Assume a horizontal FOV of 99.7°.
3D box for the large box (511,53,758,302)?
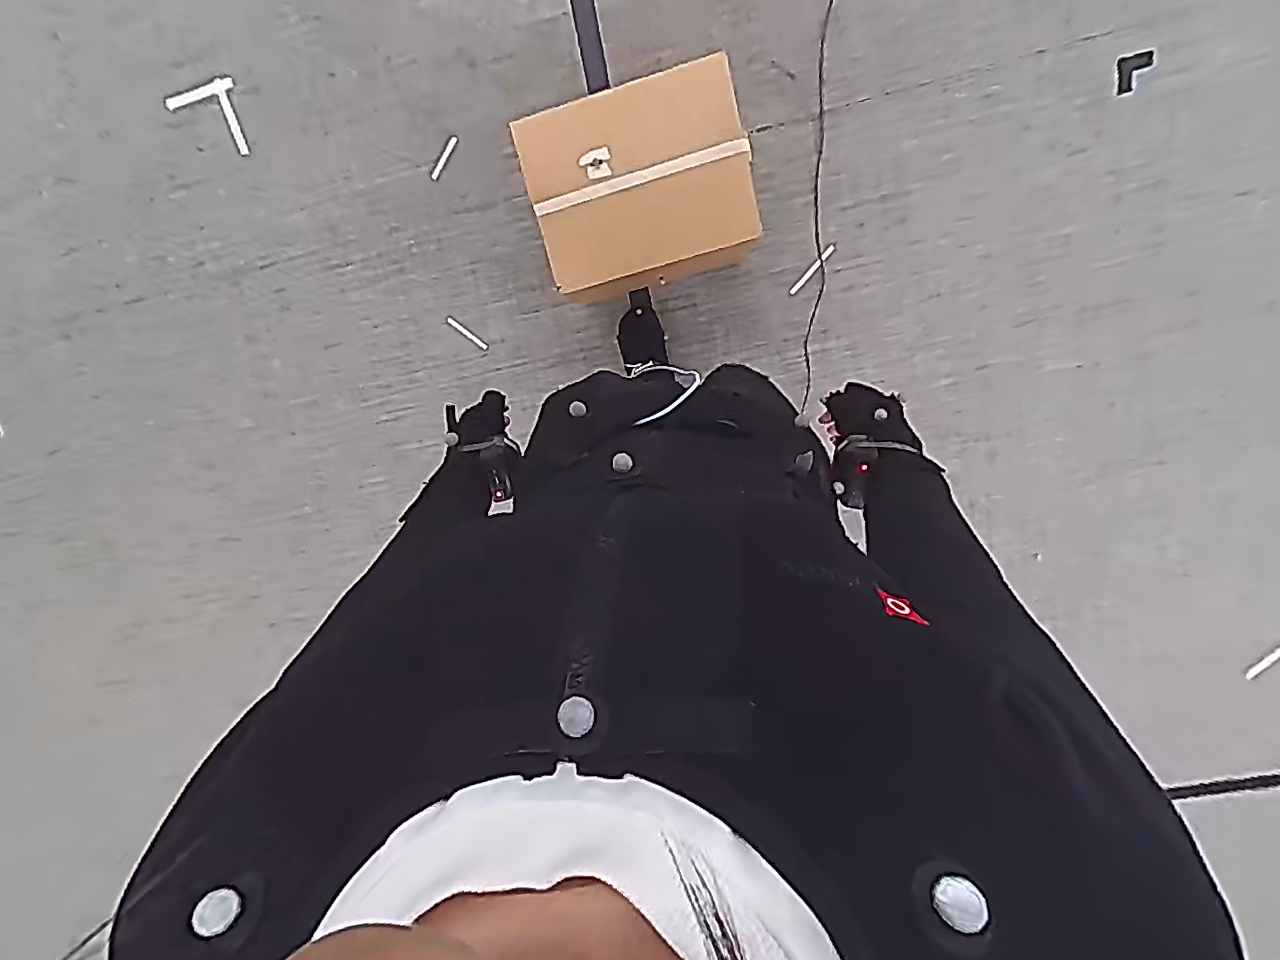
[{"bbox_3d":[0.003,-0.589,1.136,0.408,0.320,0.320,-14,103,8],"label":"large box"}]
